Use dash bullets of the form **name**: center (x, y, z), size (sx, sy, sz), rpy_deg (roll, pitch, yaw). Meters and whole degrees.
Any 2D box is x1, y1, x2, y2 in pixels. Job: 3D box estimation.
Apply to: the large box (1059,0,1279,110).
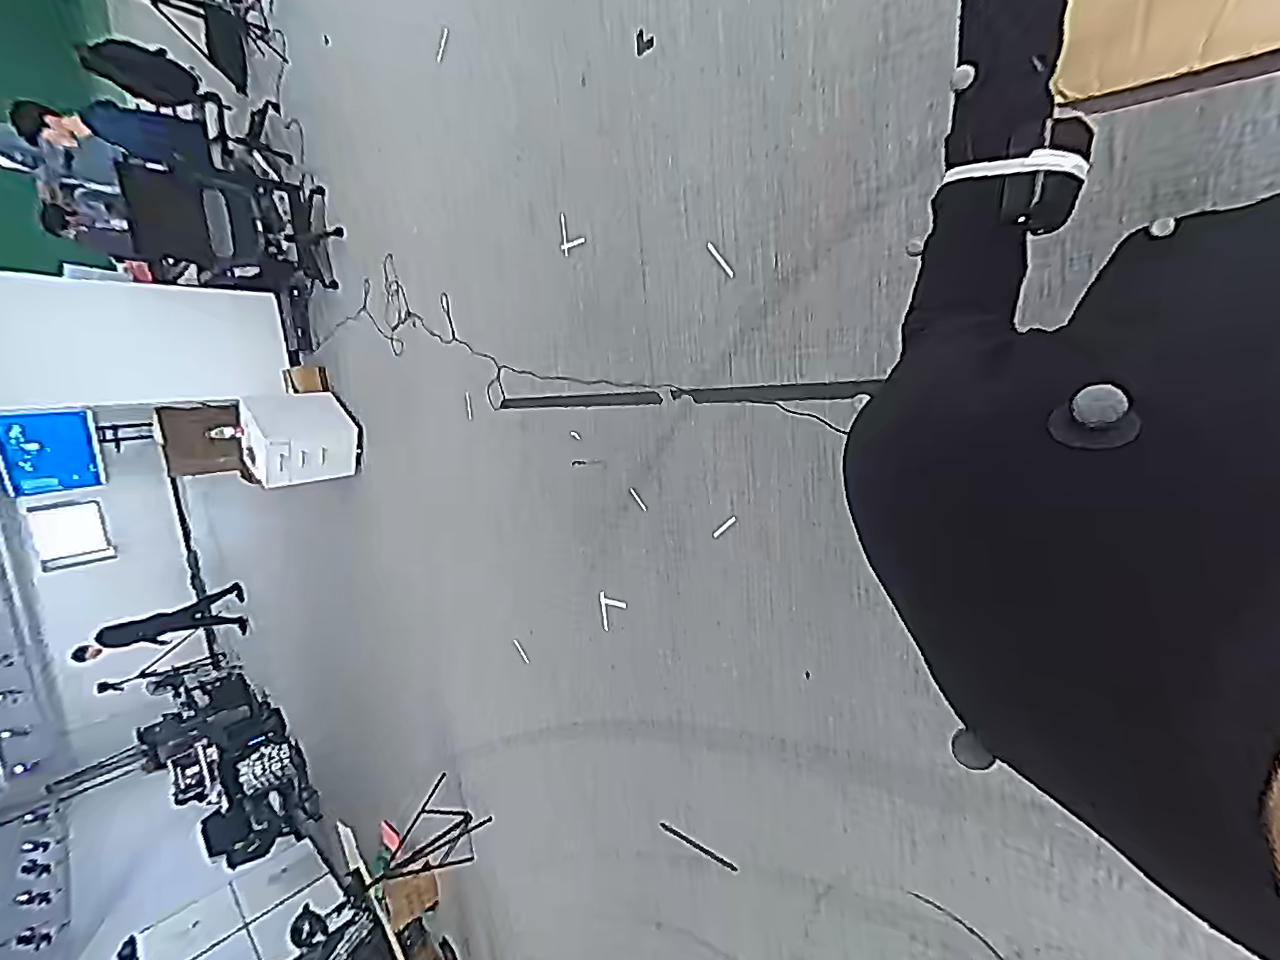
- **large box**: center (0.531, -0.467, 0.328), size (0.408, 0.320, 0.320), rpy_deg (9, 122, 39)
